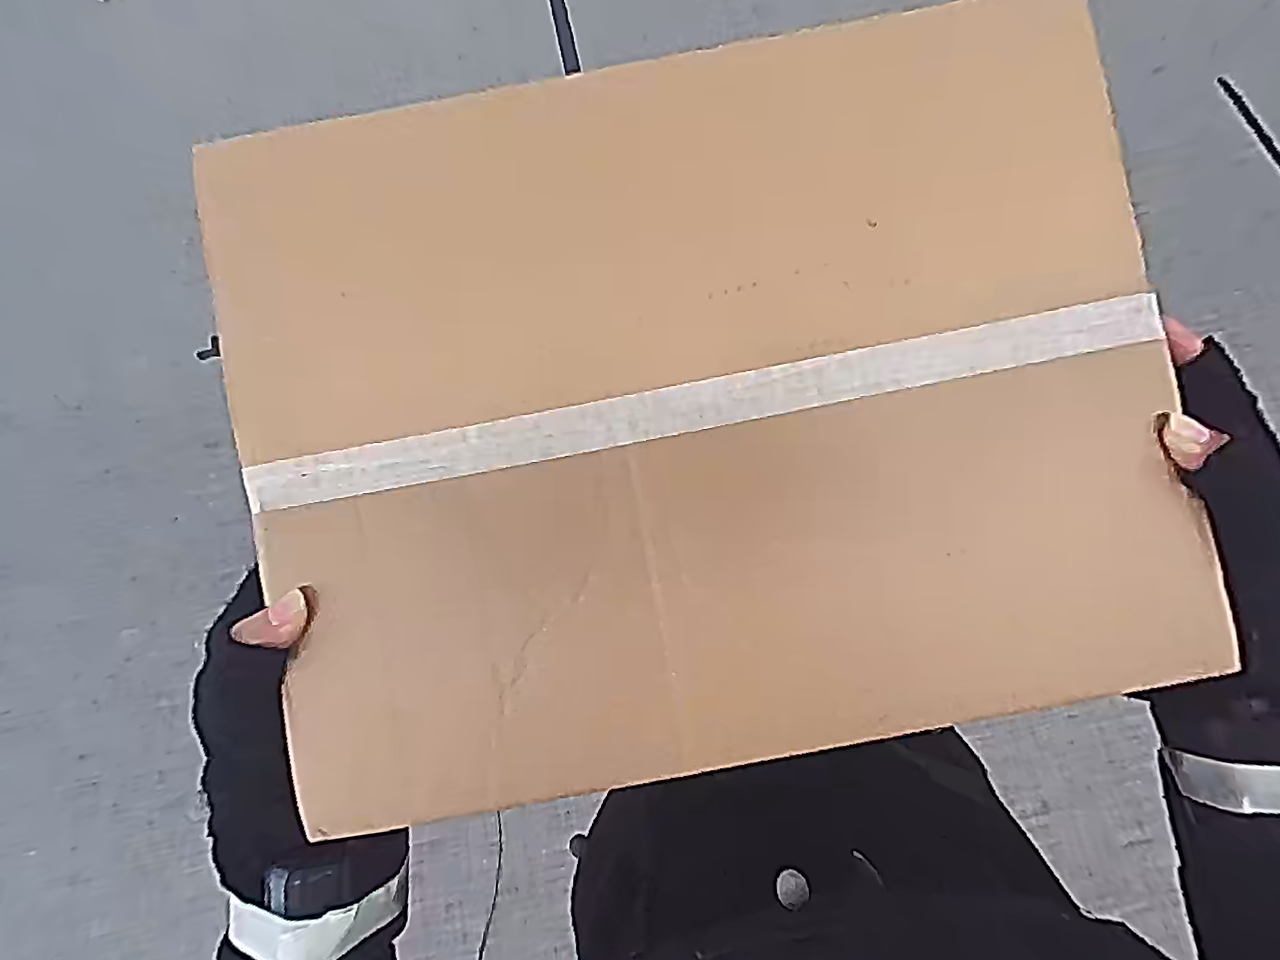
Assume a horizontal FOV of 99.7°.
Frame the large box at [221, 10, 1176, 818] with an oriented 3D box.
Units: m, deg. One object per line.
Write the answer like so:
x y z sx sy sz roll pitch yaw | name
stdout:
0.027 -0.030 0.400 0.408 0.320 0.320 -11 87 0 | large box
